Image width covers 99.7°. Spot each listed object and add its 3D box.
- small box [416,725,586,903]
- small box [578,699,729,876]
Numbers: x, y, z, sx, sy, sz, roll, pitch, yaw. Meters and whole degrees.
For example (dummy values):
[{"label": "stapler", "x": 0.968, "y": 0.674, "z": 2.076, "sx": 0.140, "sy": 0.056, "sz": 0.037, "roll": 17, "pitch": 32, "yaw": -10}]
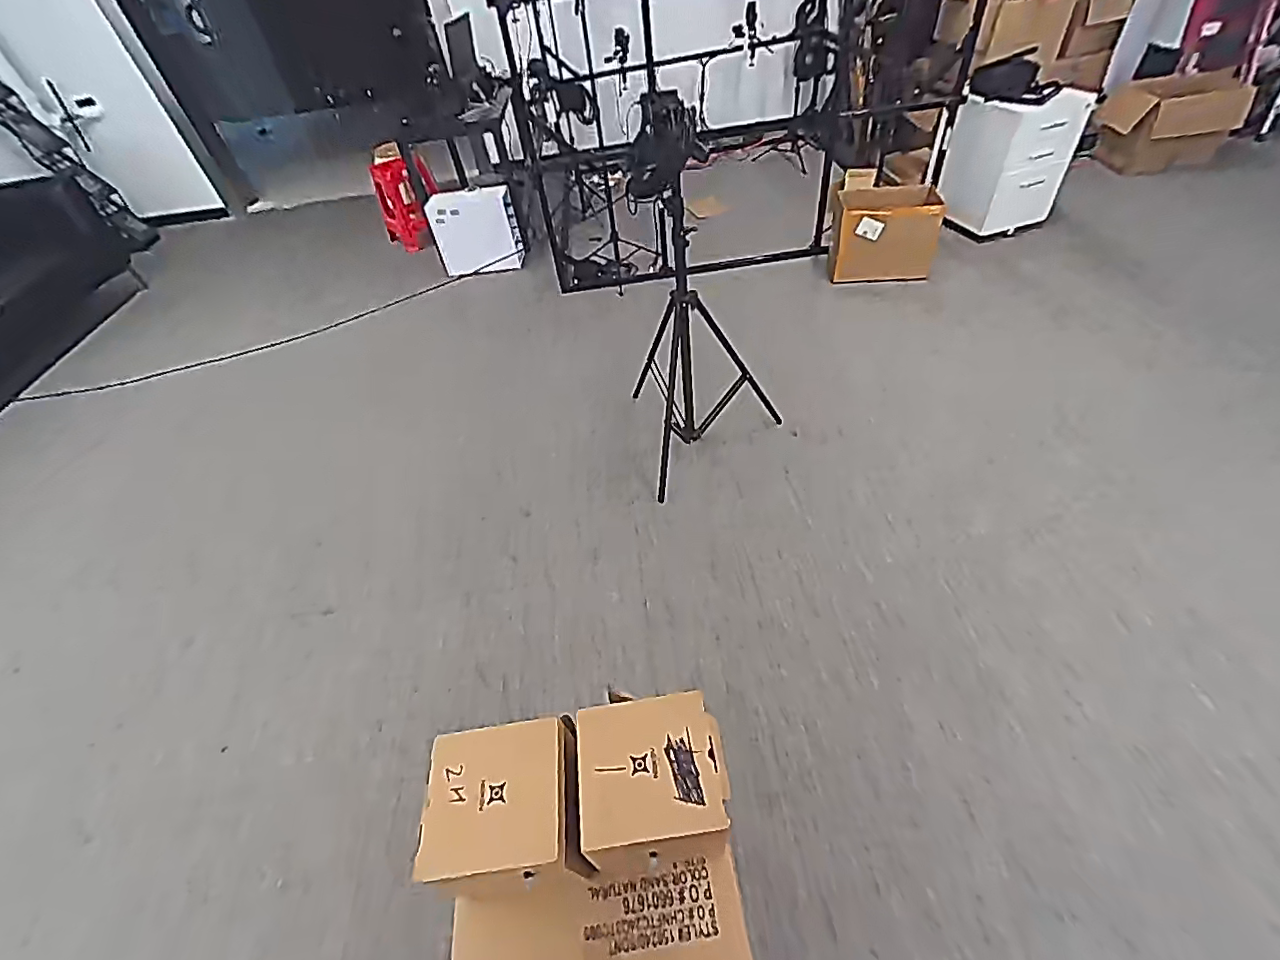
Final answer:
[{"label": "small box", "x": -0.171, "y": 0.456, "z": 0.735, "sx": 0.179, "sy": 0.176, "sz": 0.168, "roll": -10, "pitch": 46, "yaw": 2}, {"label": "small box", "x": 0.016, "y": 0.422, "z": 0.739, "sx": 0.179, "sy": 0.176, "sz": 0.168, "roll": -9, "pitch": 46, "yaw": -1}]
